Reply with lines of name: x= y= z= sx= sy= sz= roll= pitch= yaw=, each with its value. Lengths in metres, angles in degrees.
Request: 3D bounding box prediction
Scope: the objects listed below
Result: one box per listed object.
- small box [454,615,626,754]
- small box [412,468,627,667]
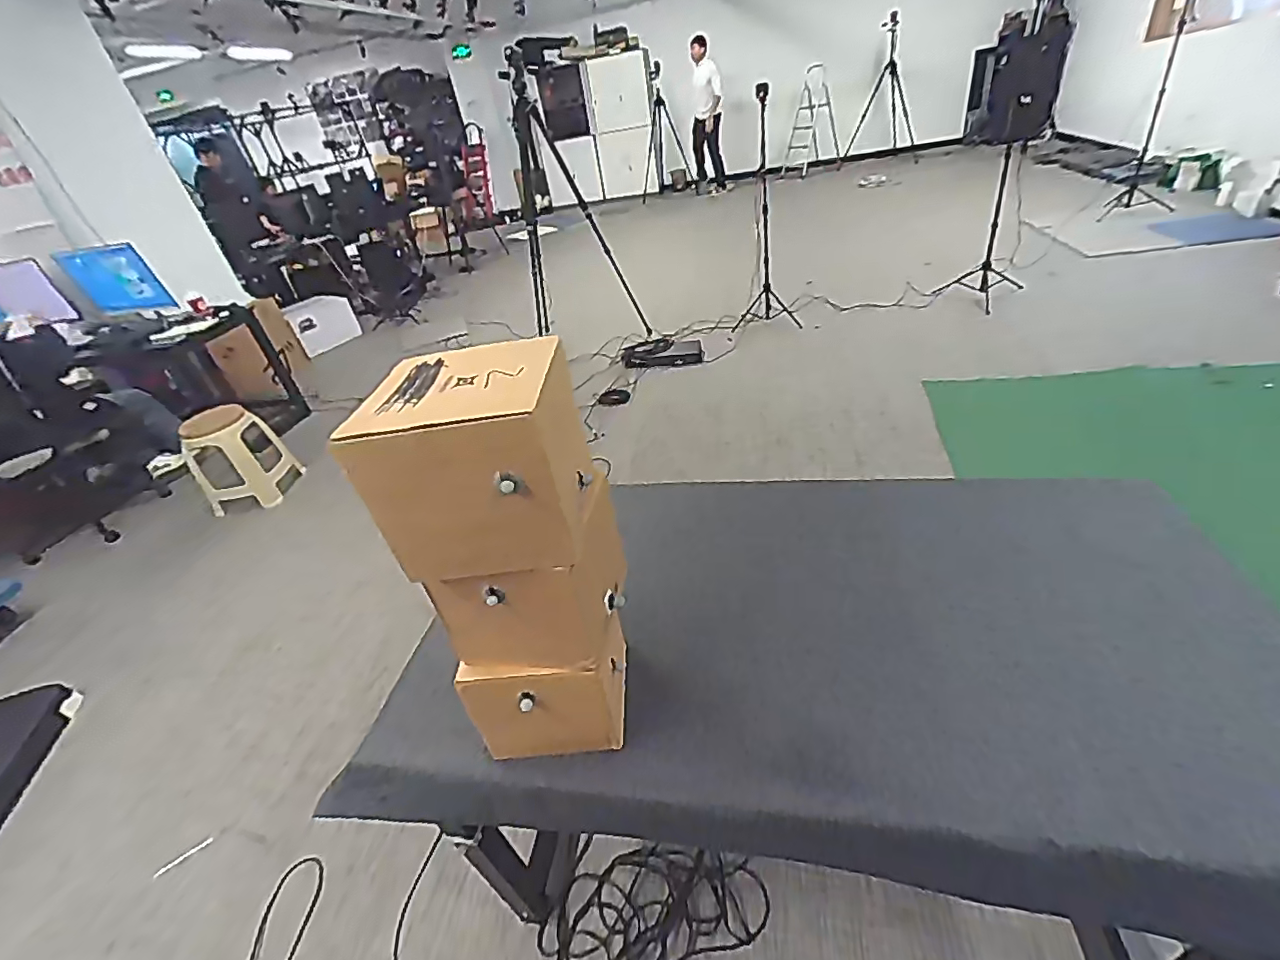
small box: x=-0.116 y=0.242 z=0.723 sx=0.179 sy=0.176 sz=0.168 roll=-7 pitch=34 yaw=6
small box: x=-0.125 y=0.102 z=0.640 sx=0.179 sy=0.176 sz=0.168 roll=-1 pitch=36 yaw=12
